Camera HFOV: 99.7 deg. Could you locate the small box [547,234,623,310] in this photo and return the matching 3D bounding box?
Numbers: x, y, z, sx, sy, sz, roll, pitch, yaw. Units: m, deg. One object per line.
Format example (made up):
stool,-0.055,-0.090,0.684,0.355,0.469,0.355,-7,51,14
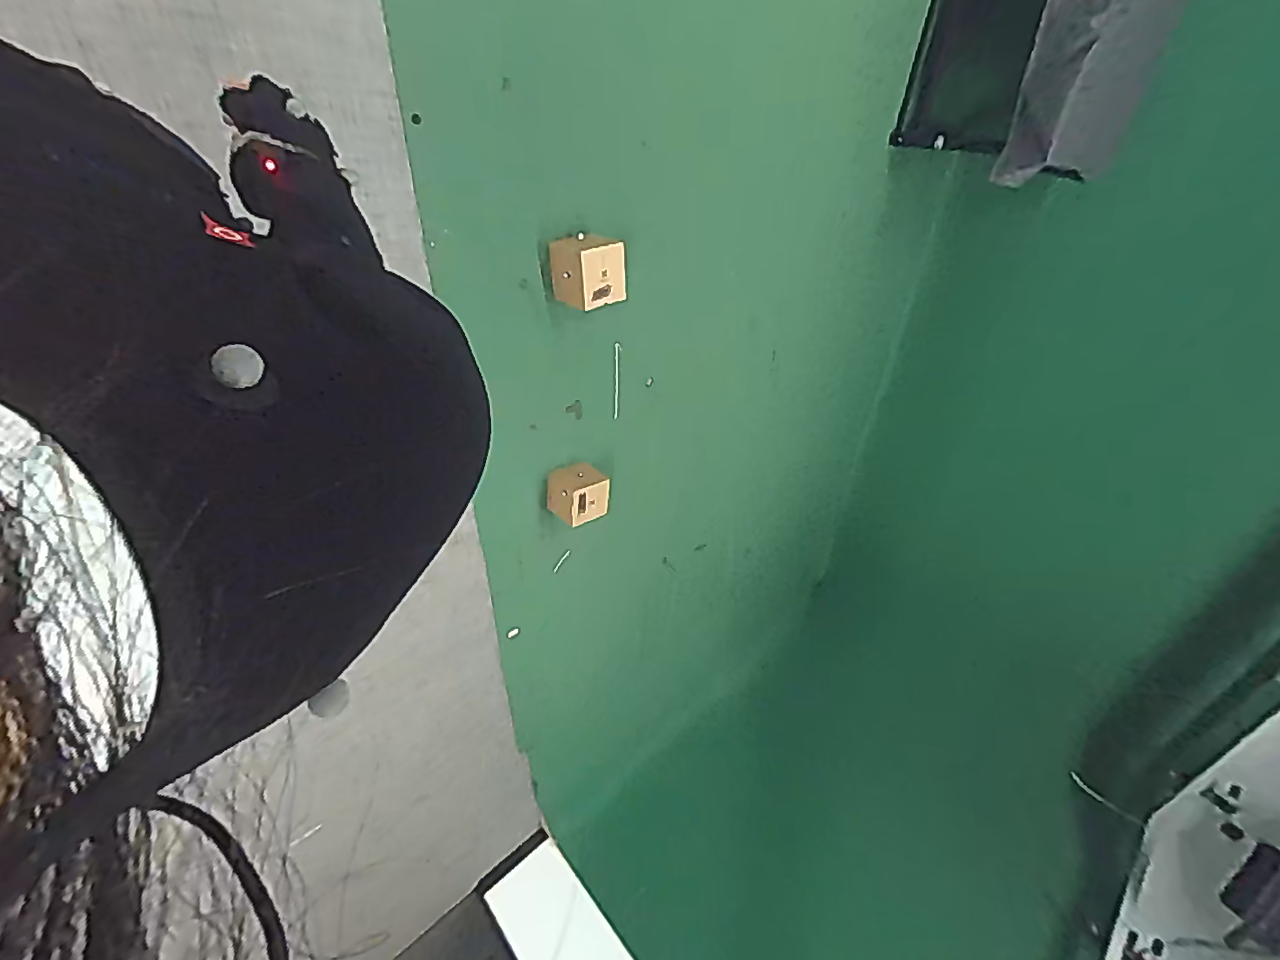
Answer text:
small box,-0.169,-0.650,1.680,0.168,0.176,0.179,-29,134,-32
